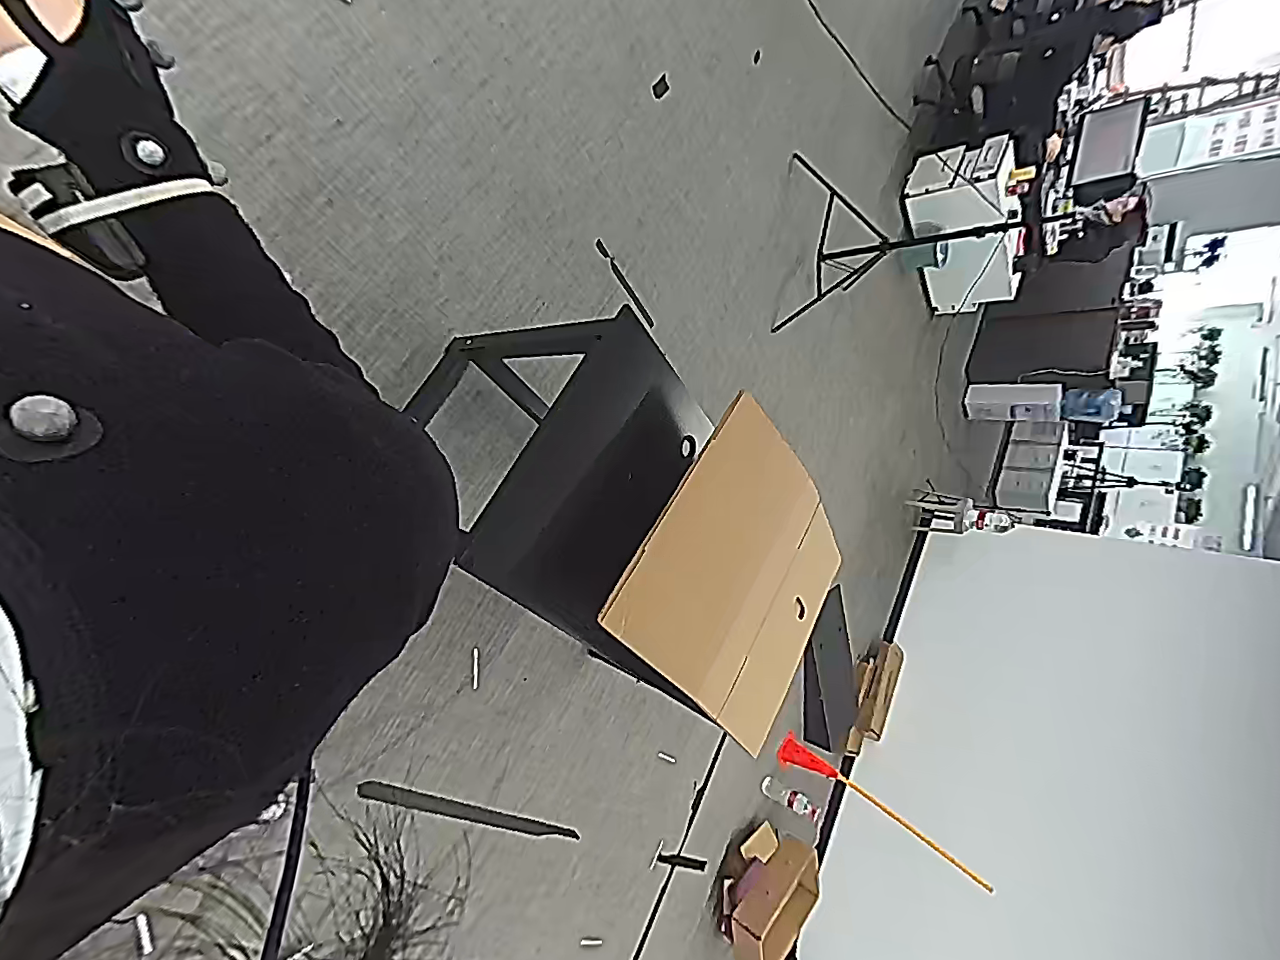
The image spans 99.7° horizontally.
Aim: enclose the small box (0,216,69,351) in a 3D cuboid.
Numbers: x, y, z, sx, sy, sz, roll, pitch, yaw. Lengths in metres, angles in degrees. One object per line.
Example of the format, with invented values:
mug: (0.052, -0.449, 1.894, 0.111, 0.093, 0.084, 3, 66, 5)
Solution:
small box: (-0.995, -0.305, 0.792, 0.168, 0.176, 0.179, 38, 68, -44)
